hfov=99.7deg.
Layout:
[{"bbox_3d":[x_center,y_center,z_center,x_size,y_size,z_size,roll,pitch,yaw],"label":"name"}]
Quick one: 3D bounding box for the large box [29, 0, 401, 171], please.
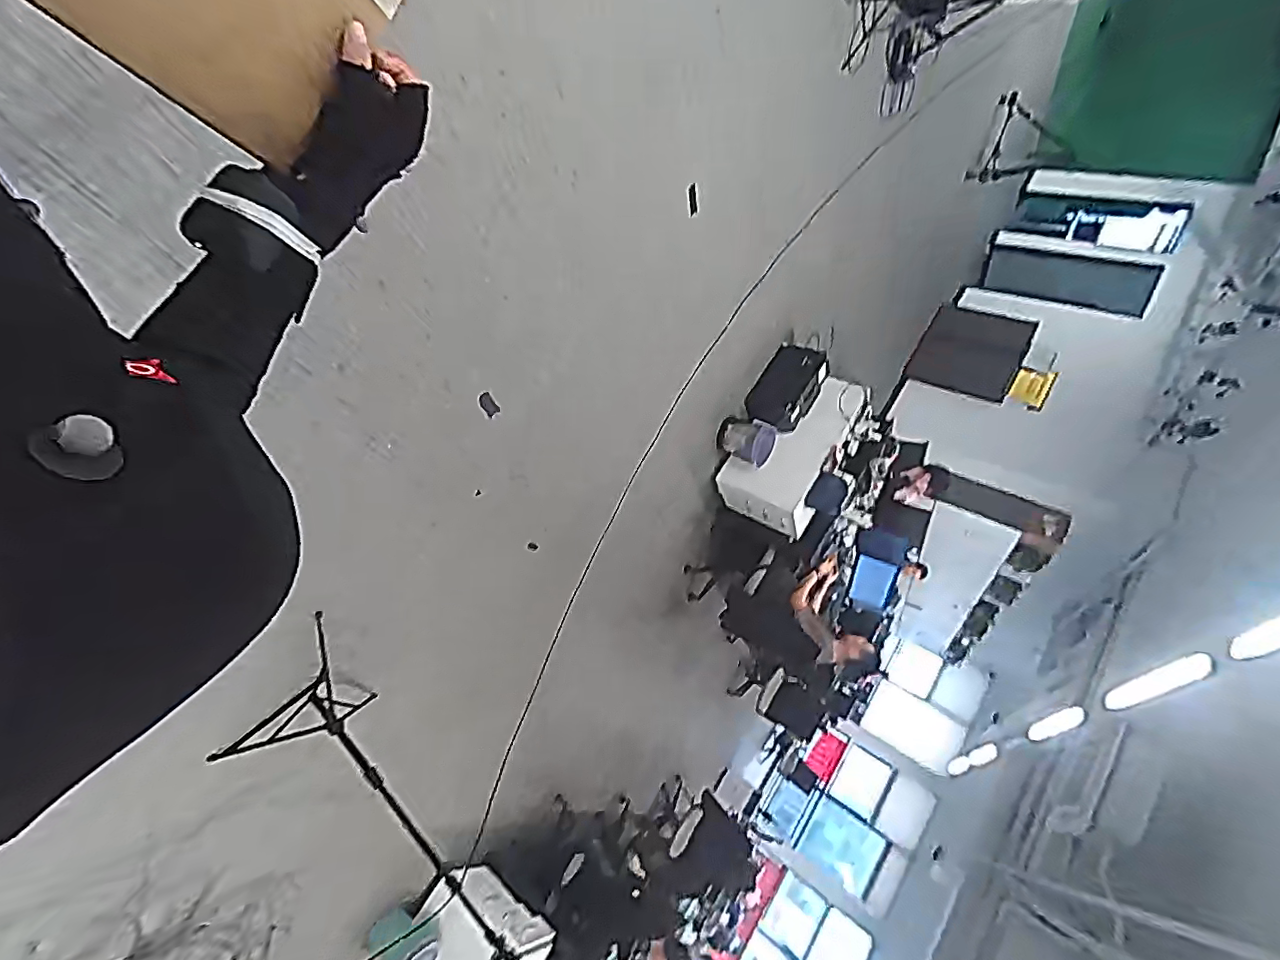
[{"bbox_3d":[-0.389,-0.498,0.335,0.320,0.320,0.408,-53,150,6],"label":"large box"}]
